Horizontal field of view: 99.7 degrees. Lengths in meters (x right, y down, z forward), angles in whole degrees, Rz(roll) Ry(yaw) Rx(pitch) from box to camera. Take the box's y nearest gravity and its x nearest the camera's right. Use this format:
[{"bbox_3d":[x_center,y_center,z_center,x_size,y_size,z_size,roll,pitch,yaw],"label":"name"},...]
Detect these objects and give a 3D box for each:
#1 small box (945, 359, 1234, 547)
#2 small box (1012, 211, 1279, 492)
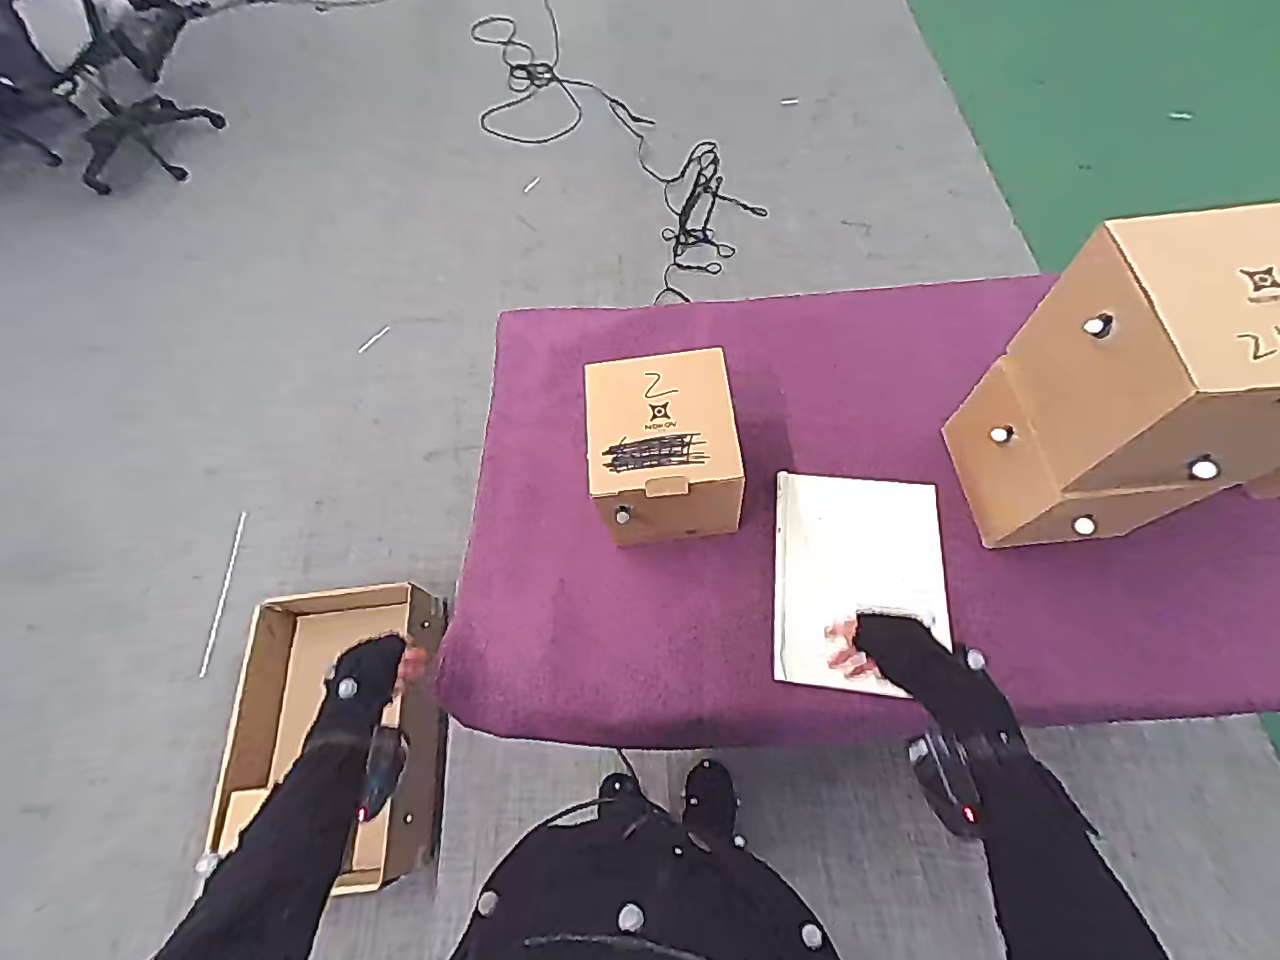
[{"bbox_3d":[0.489,-0.028,0.625,0.168,0.176,0.179,-6,64,4],"label":"small box"},{"bbox_3d":[0.473,-0.104,0.479,0.168,0.176,0.179,-4,64,6],"label":"small box"}]
